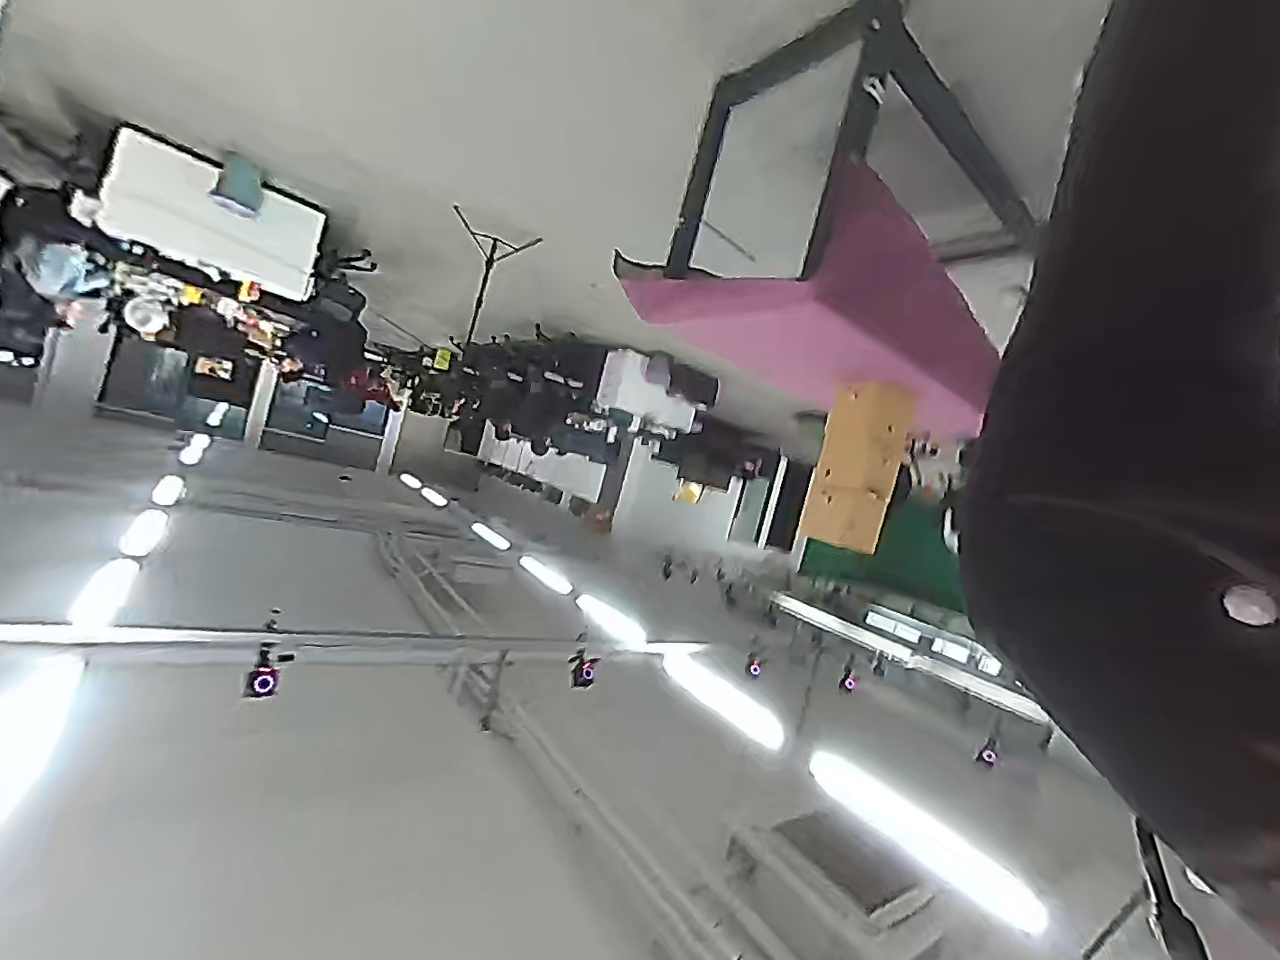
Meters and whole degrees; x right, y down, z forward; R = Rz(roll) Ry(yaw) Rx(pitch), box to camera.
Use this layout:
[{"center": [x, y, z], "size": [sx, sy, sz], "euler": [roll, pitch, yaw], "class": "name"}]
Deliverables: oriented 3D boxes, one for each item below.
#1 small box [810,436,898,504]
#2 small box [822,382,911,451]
[{"center": [0.672, -0.036, 1.695], "size": [0.168, 0.176, 0.179], "euler": [14, -179, -32], "class": "small box"}, {"center": [0.703, -0.198, 1.675], "size": [0.179, 0.176, 0.168], "euler": [16, 180, -27], "class": "small box"}]
